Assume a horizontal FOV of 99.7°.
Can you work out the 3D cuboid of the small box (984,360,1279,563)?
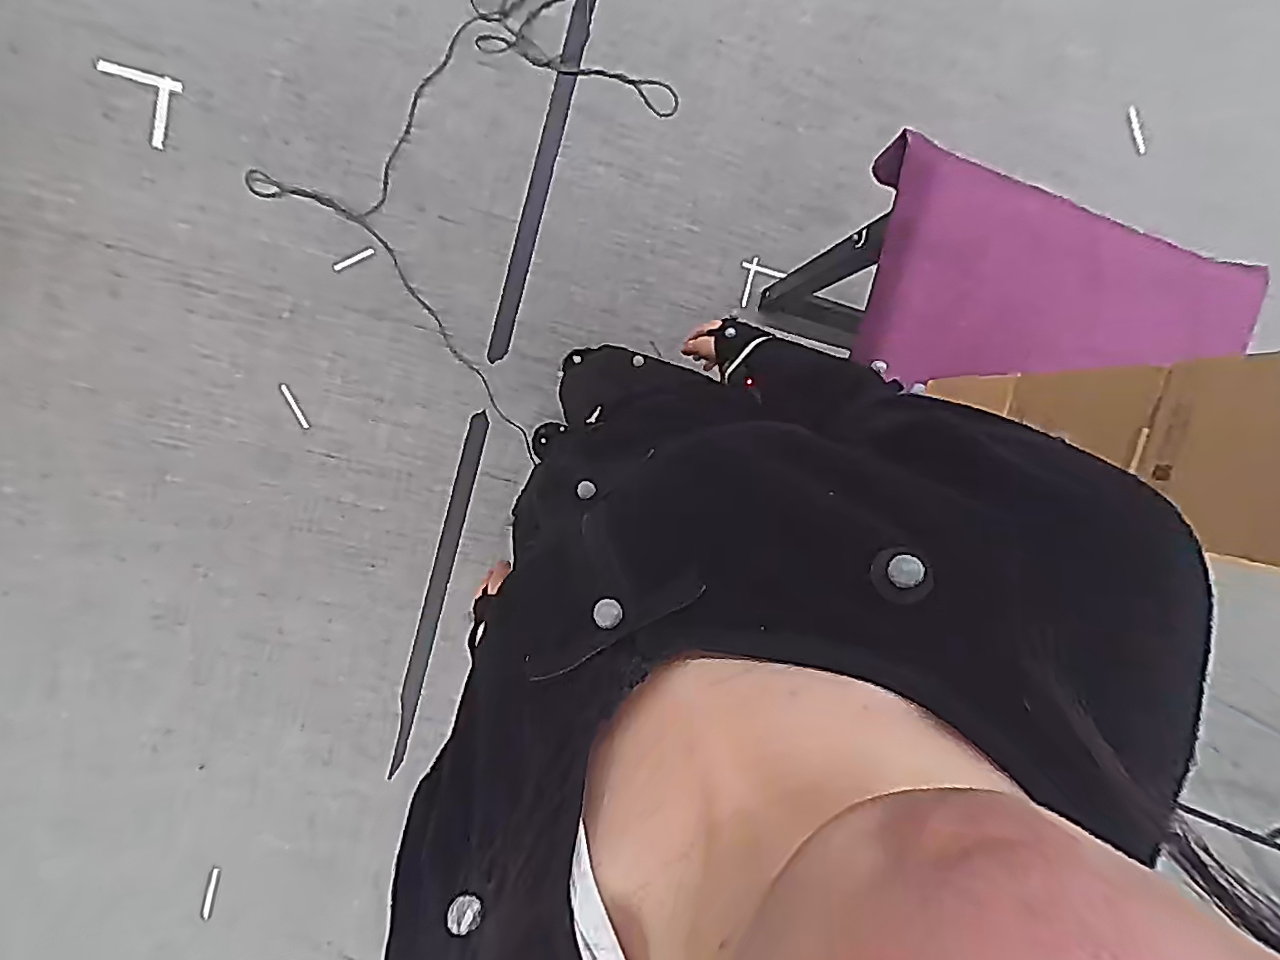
[{"bbox_3d":[0.529,-0.023,0.597,0.179,0.176,0.168,13,95,-10],"label":"small box"}]
